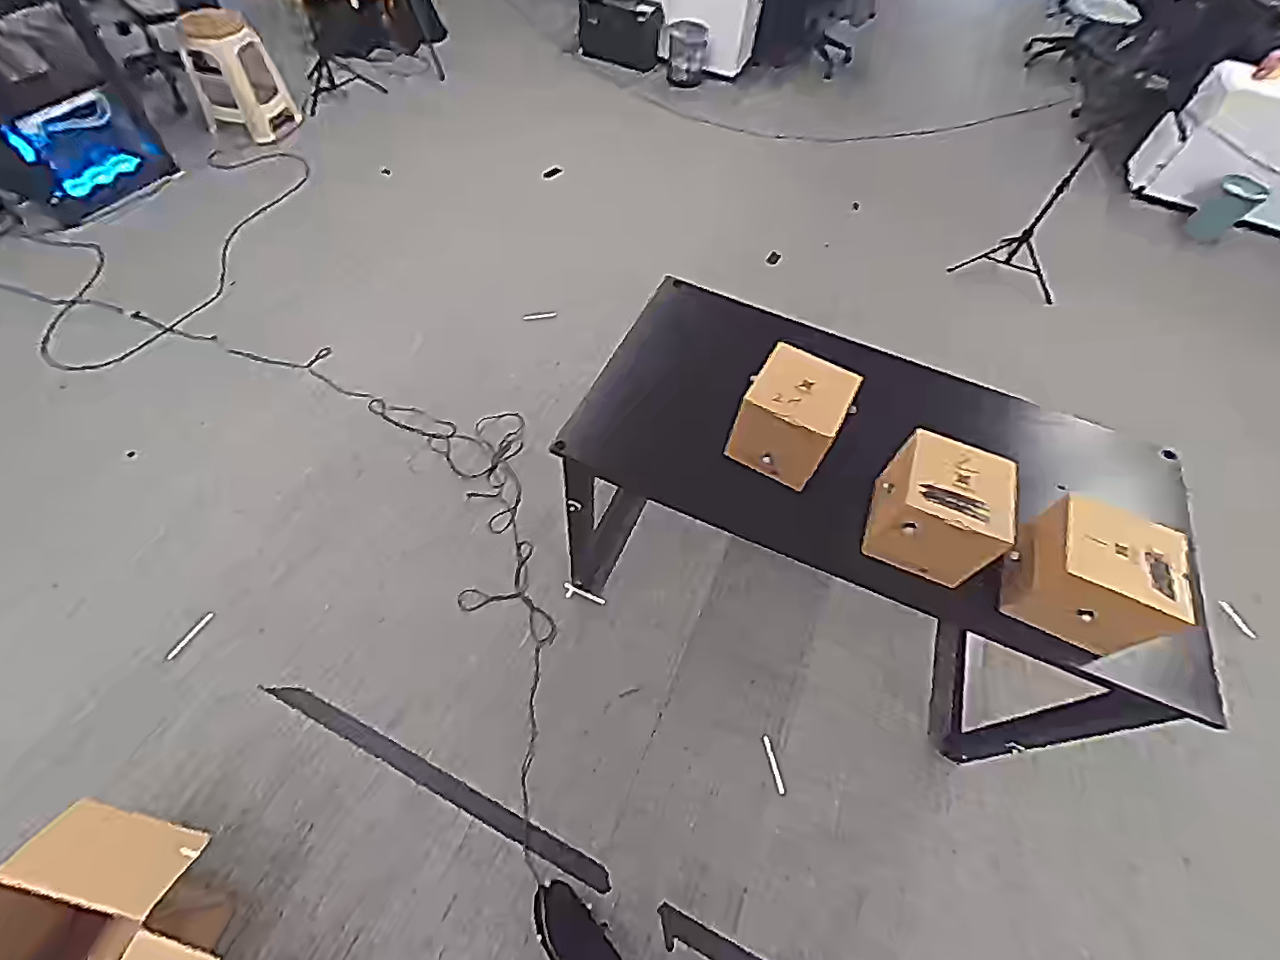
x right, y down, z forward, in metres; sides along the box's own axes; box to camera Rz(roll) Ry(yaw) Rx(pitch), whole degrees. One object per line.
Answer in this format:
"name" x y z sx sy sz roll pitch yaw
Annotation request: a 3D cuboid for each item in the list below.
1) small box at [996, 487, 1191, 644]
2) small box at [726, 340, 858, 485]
"small box" 0.730 0.147 0.885 0.179 0.176 0.168 24 57 12
"small box" 0.279 -0.125 1.023 0.168 0.176 0.179 27 59 13
